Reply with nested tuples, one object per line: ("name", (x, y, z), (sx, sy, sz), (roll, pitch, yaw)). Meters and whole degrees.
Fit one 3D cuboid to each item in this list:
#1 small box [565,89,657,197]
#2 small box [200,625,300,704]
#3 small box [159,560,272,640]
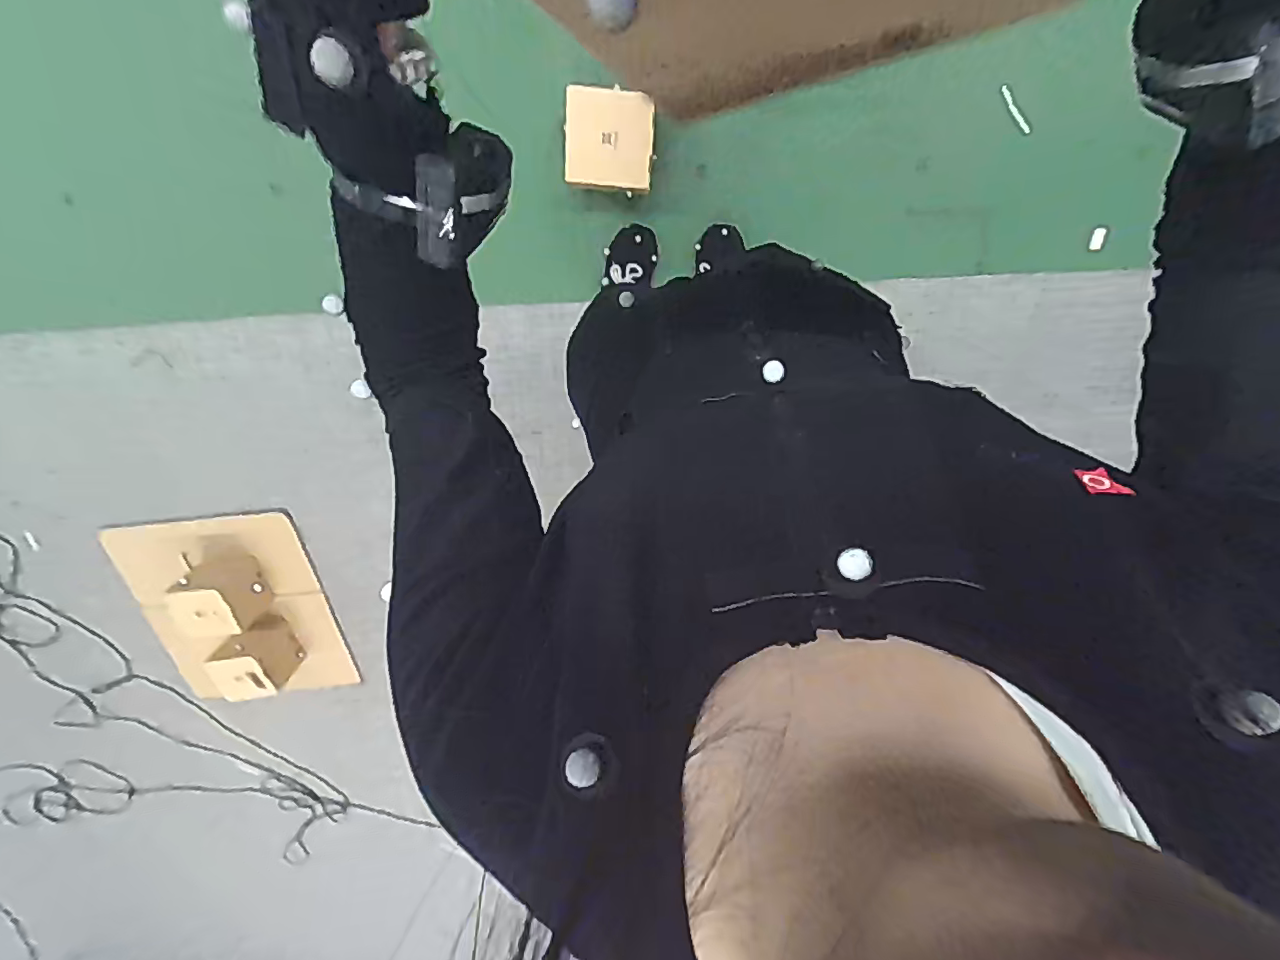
("small box", (-0.060, -0.707, 1.153), (0.179, 0.176, 0.168), (4, 114, -2))
("small box", (-1.231, 0.584, 1.729), (0.179, 0.176, 0.168), (-10, 115, 5))
("small box", (-1.268, 0.356, 1.628), (0.179, 0.176, 0.168), (-6, 116, 2))
